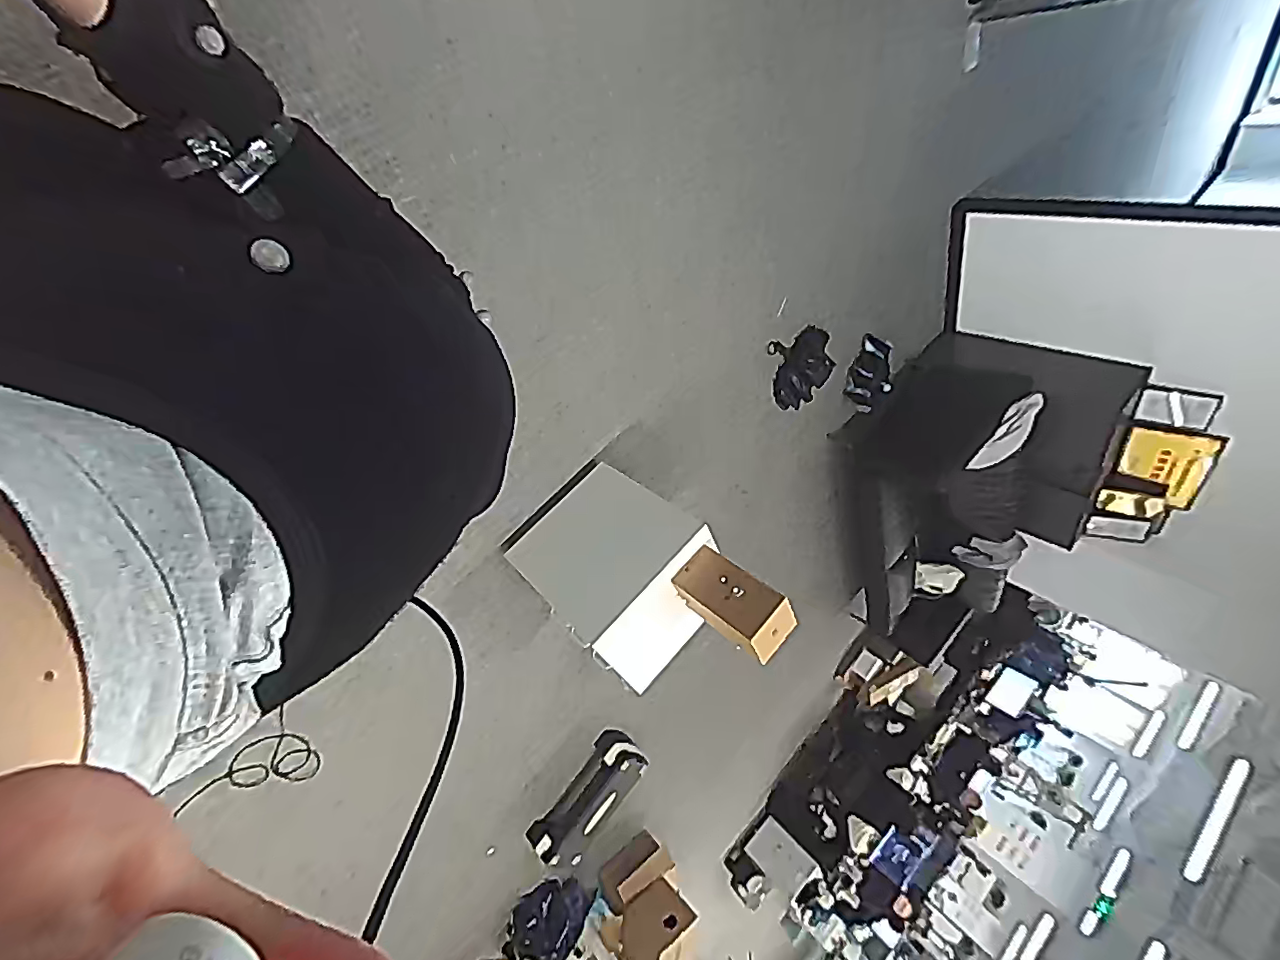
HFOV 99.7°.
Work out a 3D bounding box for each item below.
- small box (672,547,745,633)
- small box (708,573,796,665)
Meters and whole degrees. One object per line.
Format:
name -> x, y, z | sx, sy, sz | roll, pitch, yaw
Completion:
small box -> 0.229, 0.342, 1.703 | 0.168, 0.176, 0.179 | -44, 137, -14
small box -> 0.328, 0.404, 1.589 | 0.168, 0.176, 0.179 | -46, 136, -14
